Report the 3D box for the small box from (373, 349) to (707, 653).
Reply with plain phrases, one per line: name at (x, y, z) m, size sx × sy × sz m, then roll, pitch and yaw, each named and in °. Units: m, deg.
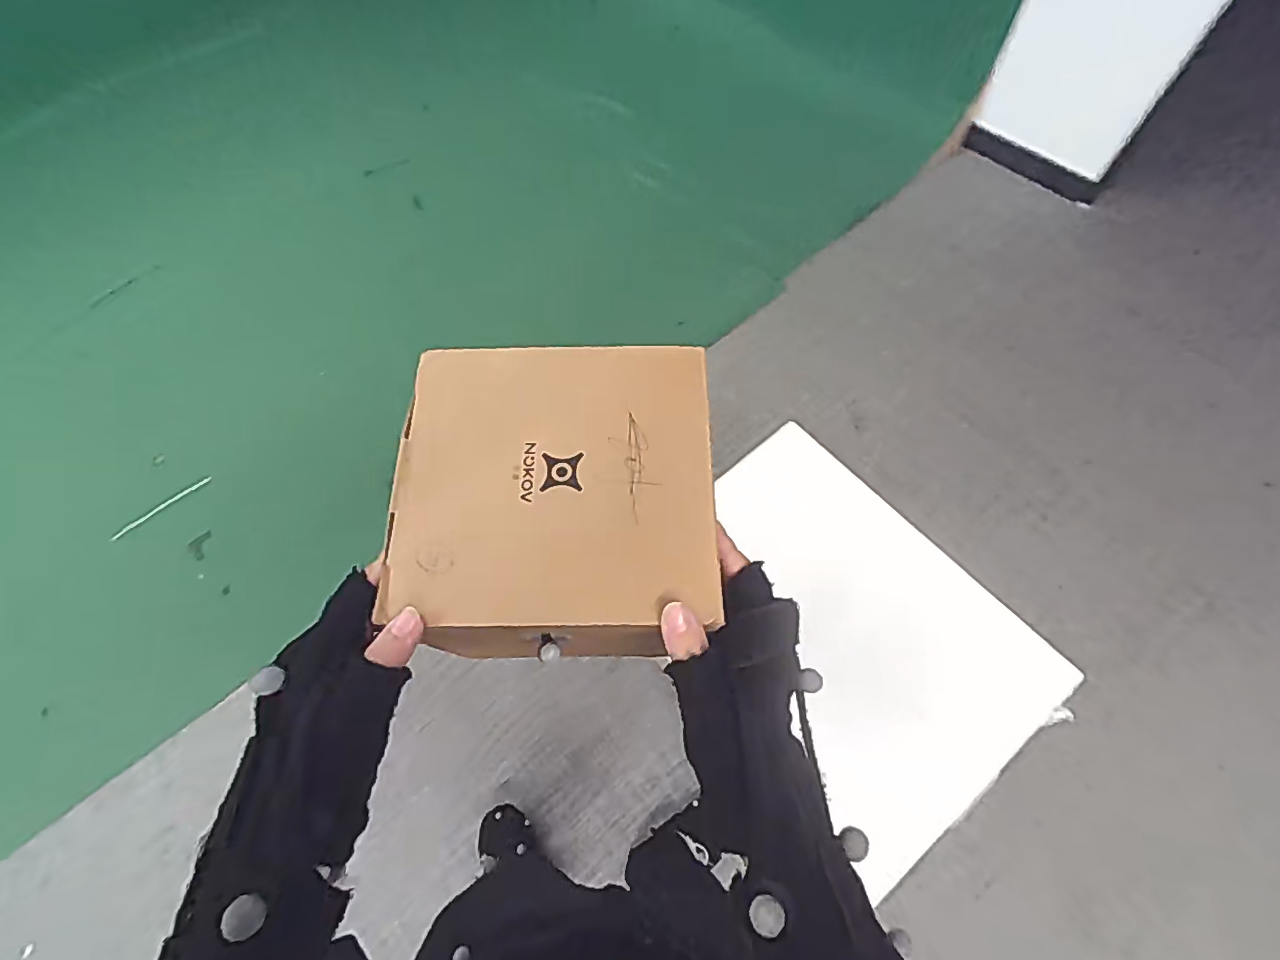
small box at (-0.052, 0.027, 0.381) m, size 0.179 × 0.176 × 0.168 m, roll -2°, pitch 67°, yaw -1°
